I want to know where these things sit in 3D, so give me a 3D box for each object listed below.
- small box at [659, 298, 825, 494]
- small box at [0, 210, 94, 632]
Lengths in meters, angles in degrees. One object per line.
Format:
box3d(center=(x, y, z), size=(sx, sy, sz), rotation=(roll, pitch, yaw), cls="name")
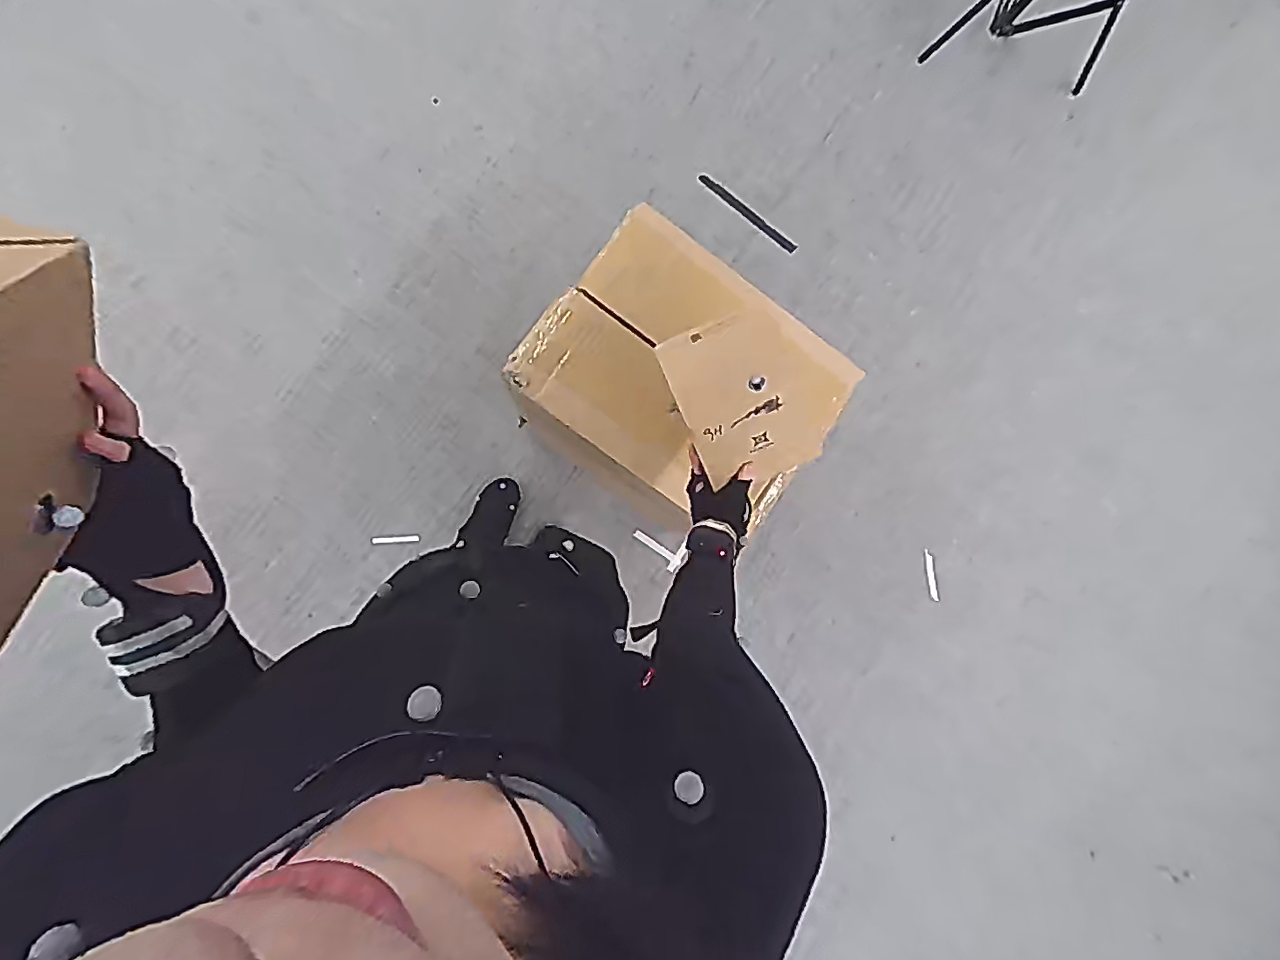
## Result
box3d(center=(0.143, -0.114, 0.752), size=(0.168, 0.179, 0.176), rotation=(-23, 55, 7), cls="small box")
box3d(center=(-0.360, -0.028, 0.213), size=(0.168, 0.179, 0.176), rotation=(7, 120, -30), cls="small box")
